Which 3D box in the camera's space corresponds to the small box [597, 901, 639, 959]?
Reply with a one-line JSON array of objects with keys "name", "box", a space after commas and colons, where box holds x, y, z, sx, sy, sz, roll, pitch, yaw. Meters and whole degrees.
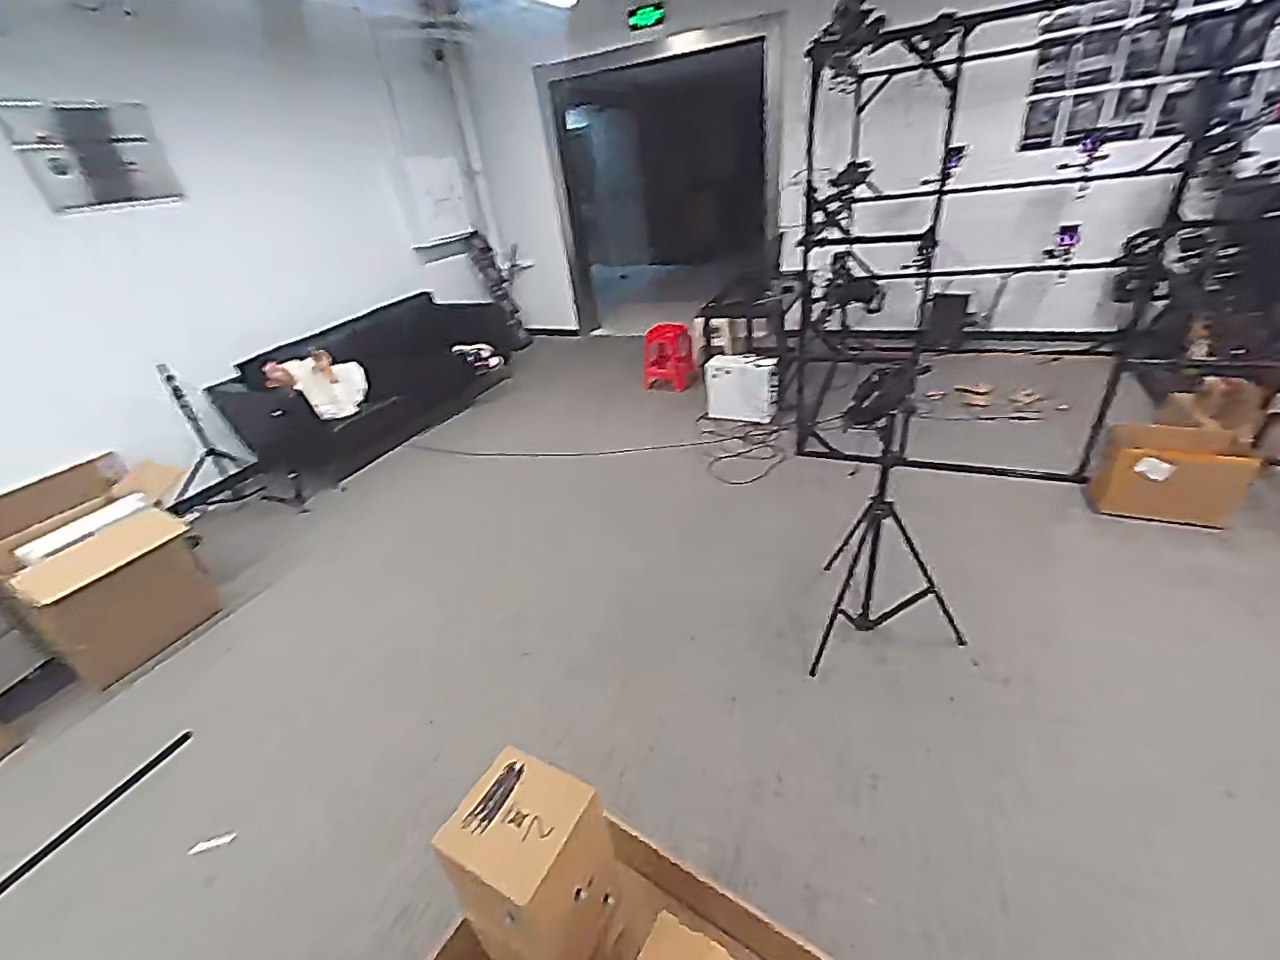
[{"name": "small box", "box": [-0.119, 0.830, 0.951, 0.179, 0.176, 0.168, 12, 35, 29]}]

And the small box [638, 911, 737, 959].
[{"name": "small box", "box": [0.065, 0.749, 0.723, 0.168, 0.176, 0.179, 12, 34, 30]}]

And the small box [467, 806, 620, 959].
[{"name": "small box", "box": [-0.144, 0.687, 0.875, 0.168, 0.176, 0.179, 9, 33, 28]}]
